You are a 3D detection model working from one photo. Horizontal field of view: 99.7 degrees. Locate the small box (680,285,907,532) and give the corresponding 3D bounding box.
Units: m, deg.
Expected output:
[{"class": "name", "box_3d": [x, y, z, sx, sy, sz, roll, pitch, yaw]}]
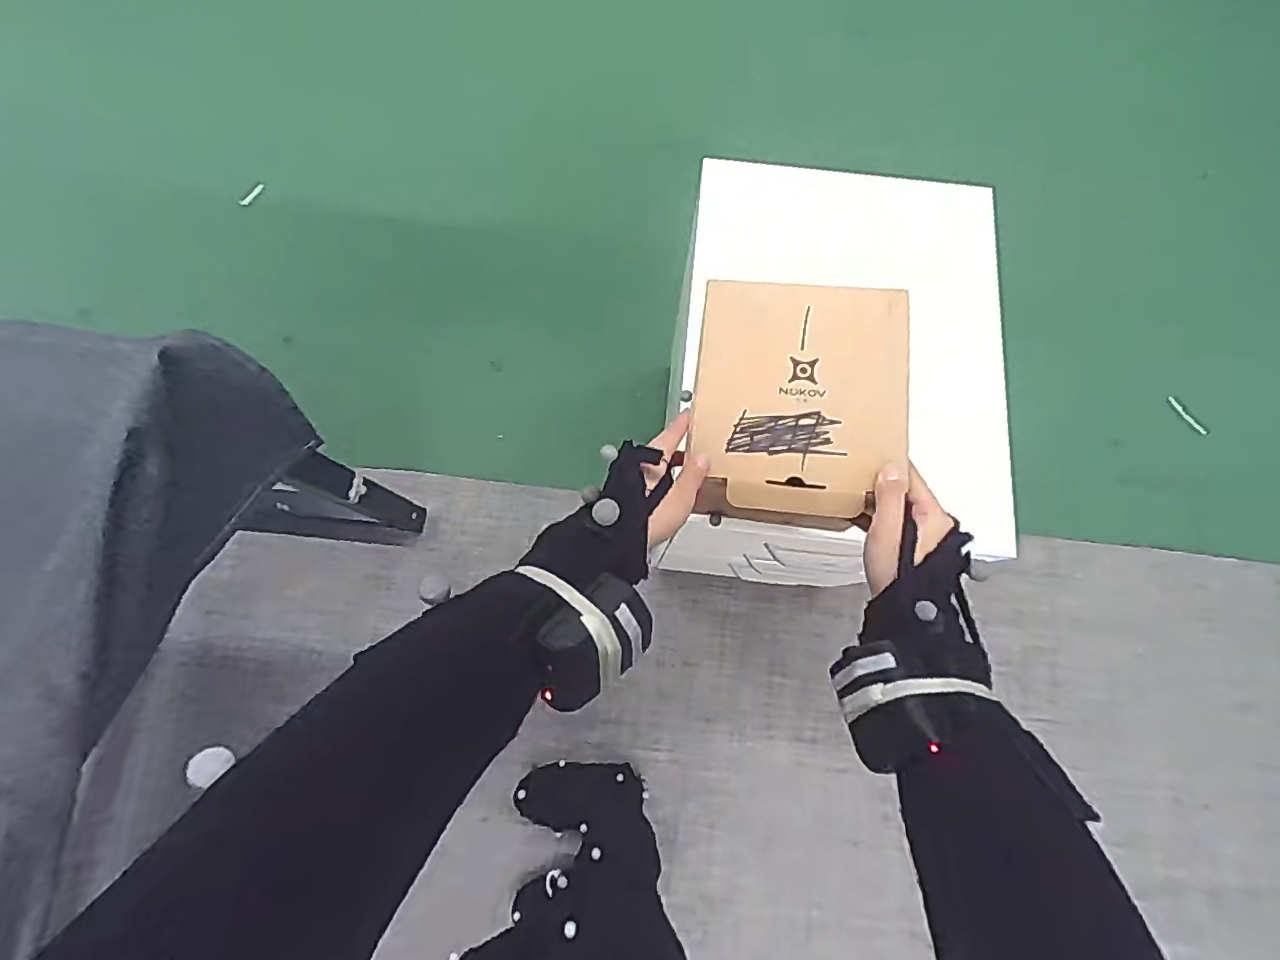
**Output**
[{"class": "small box", "box_3d": [0.133, -0.054, 0.510, 0.168, 0.176, 0.179, 7, 76, 7]}]
